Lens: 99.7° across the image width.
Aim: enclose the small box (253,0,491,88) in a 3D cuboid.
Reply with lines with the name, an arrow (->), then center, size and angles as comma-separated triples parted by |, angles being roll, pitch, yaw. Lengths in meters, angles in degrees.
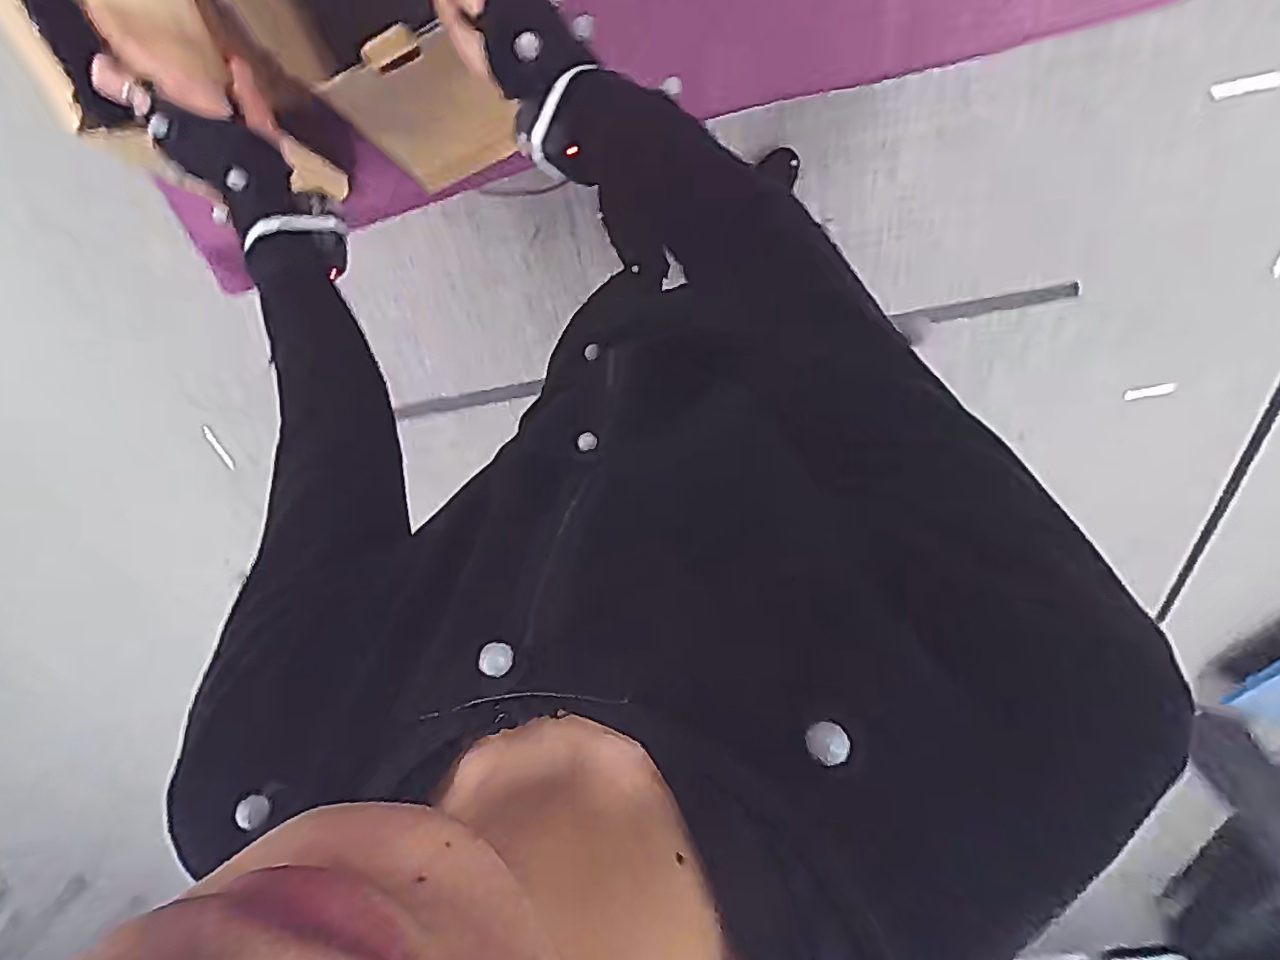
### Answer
small box -> -0.255, -0.487, 0.485 | 0.168, 0.176, 0.179 | -19, 124, 10
